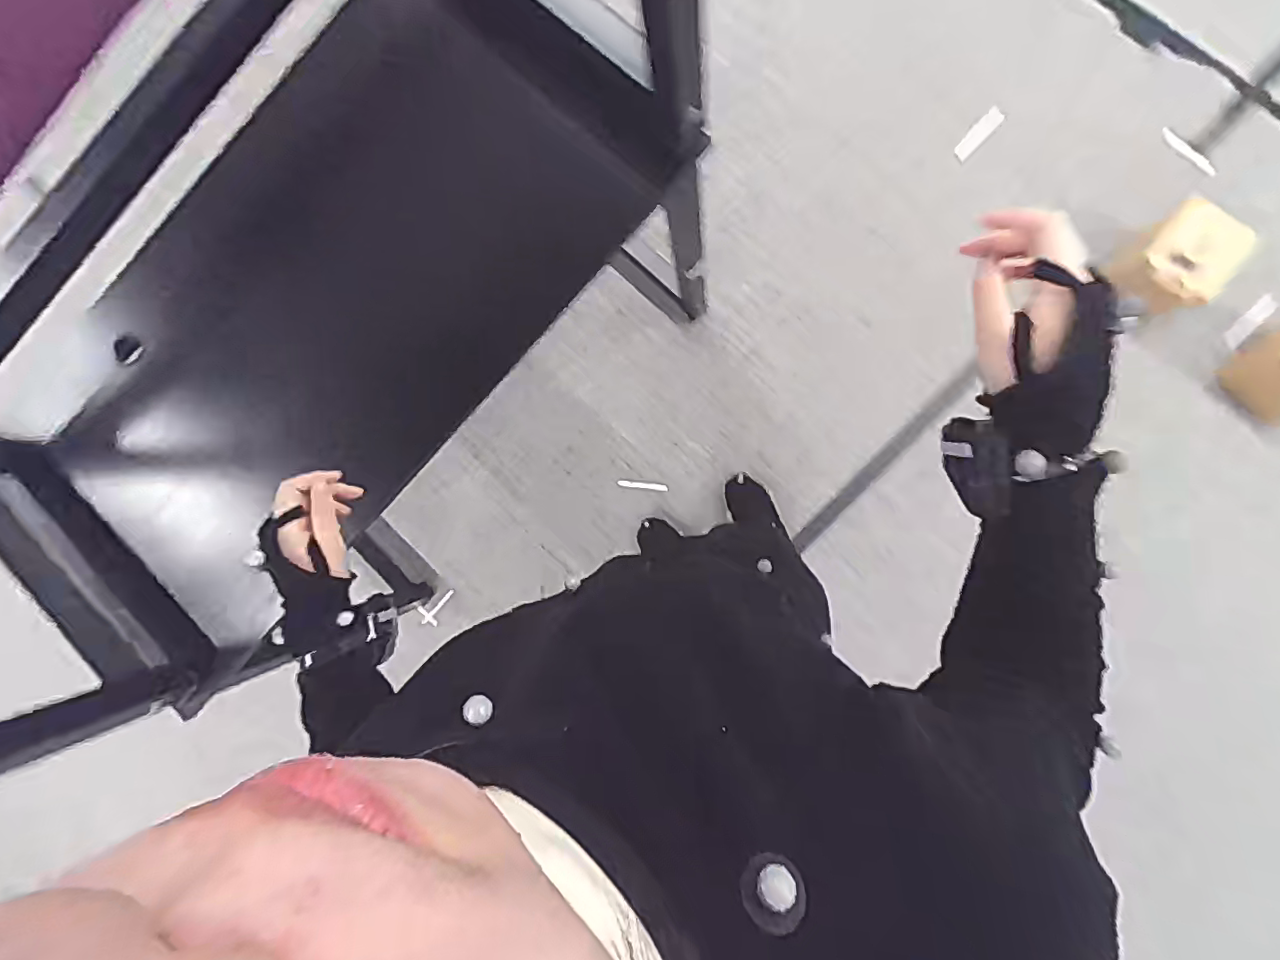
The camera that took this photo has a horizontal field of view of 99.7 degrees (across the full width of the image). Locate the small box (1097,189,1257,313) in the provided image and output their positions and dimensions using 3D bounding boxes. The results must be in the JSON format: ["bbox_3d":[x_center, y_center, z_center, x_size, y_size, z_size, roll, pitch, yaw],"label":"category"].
[{"bbox_3d":[1.232,-0.522,1.263,0.168,0.176,0.179,37,94,5],"label":"small box"}]

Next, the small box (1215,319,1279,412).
[{"bbox_3d":[1.508,-0.270,1.230,0.168,0.176,0.179,-45,85,5],"label":"small box"}]
